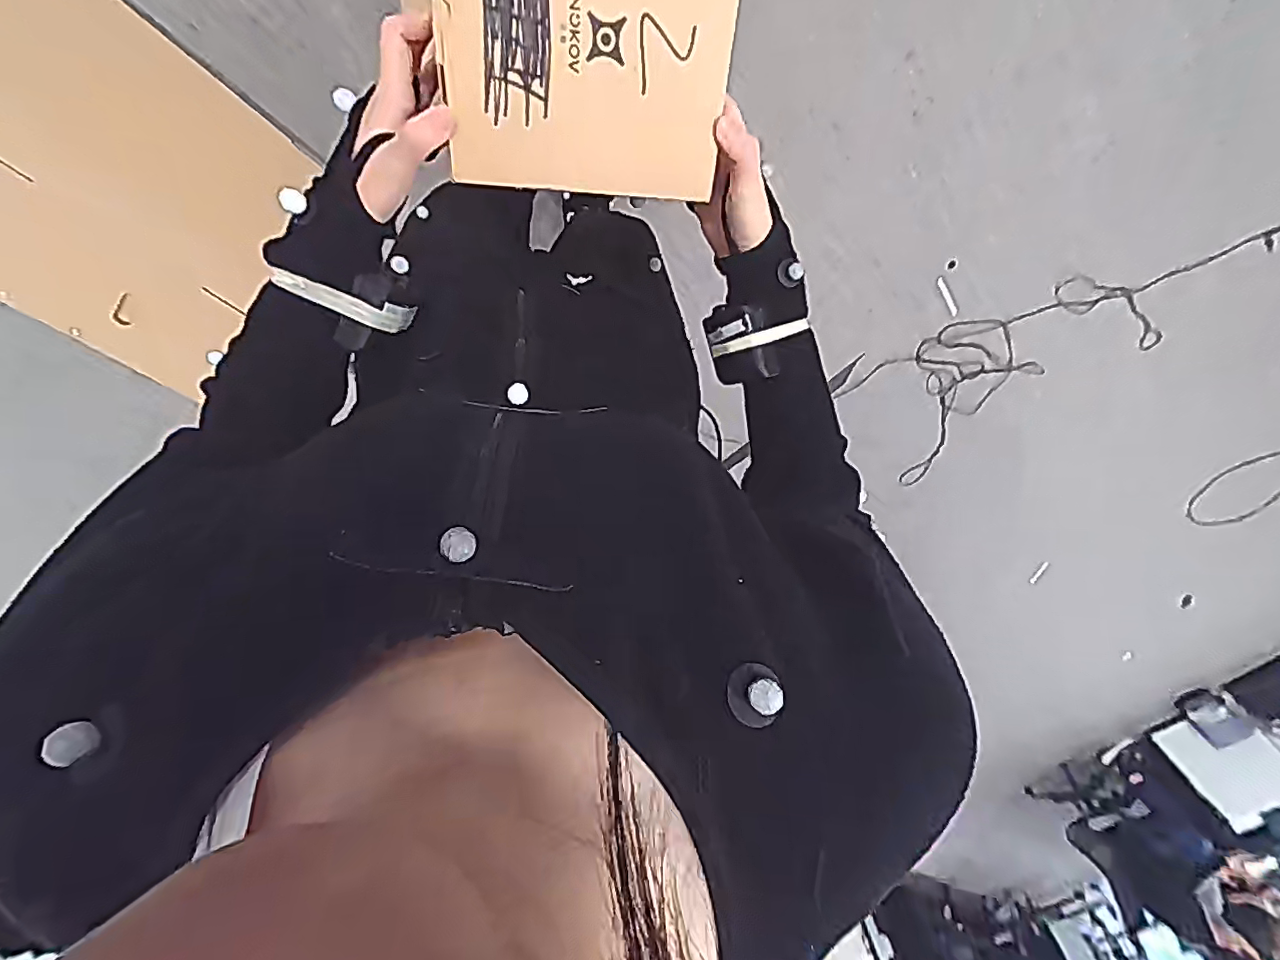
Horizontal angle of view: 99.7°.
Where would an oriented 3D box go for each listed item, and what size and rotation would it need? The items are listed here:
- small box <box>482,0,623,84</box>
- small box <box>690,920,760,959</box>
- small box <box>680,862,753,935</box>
[{"bbox_3d":[-0.120,-0.654,0.735,0.179,0.176,0.168,0,128,-13],"label":"small box"},{"bbox_3d":[0.287,1.565,1.761,0.168,0.176,0.179,-35,126,15],"label":"small box"},{"bbox_3d":[0.263,1.470,1.892,0.168,0.176,0.179,-37,125,16],"label":"small box"}]
